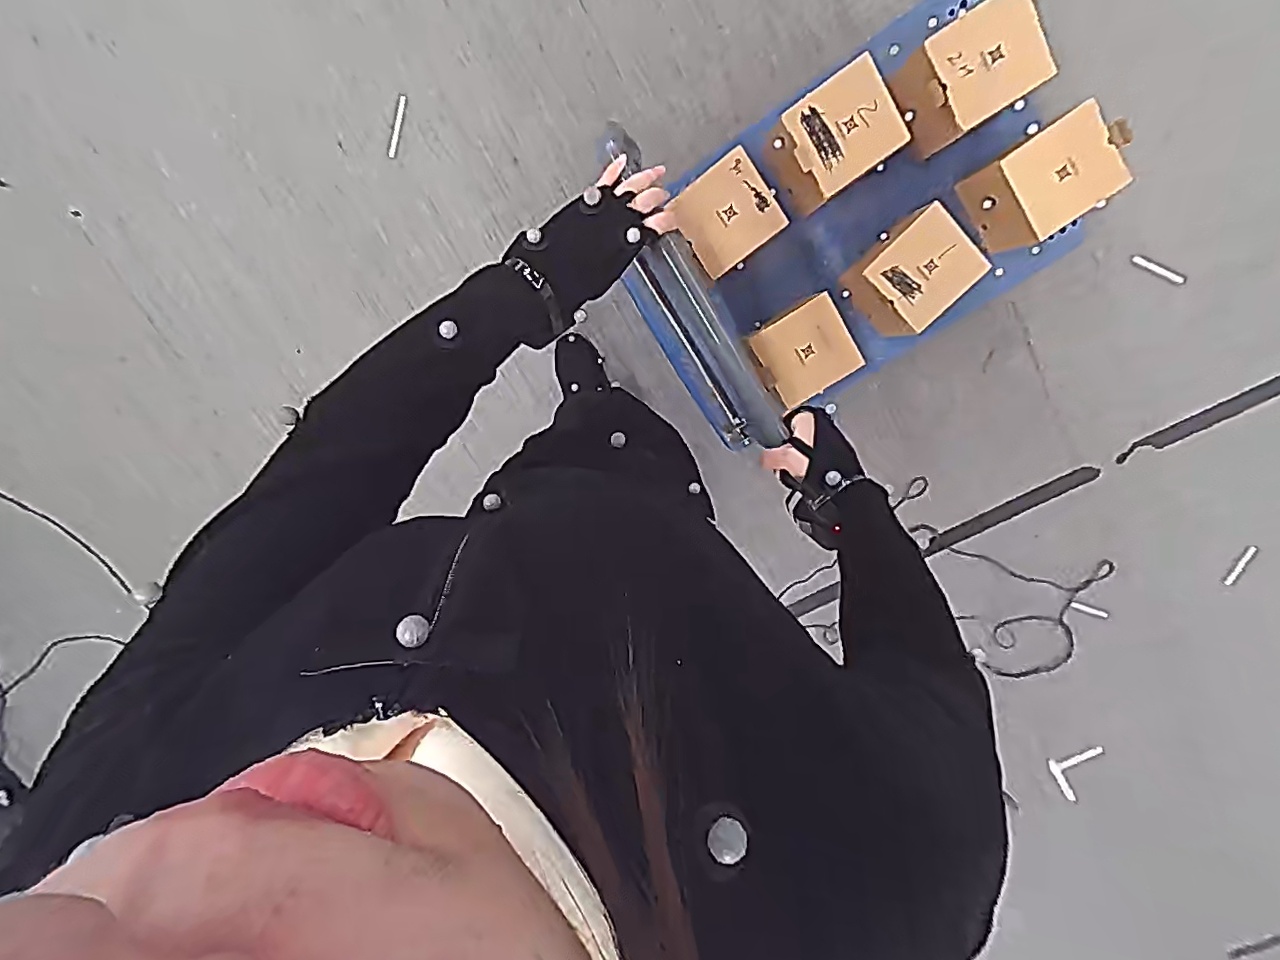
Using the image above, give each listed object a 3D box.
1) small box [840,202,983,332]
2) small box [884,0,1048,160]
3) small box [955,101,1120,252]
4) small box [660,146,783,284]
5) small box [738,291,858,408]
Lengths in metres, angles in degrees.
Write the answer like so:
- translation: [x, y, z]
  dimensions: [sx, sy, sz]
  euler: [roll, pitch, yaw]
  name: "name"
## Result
- translation: [0.531, -0.417, 1.095]
  dimensions: [0.179, 0.176, 0.168]
  euler: [-44, 99, 11]
  name: "small box"
- translation: [0.594, -0.741, 1.007]
  dimensions: [0.179, 0.176, 0.168]
  euler: [-30, 101, 10]
  name: "small box"
- translation: [0.751, -0.571, 1.048]
  dimensions: [0.179, 0.176, 0.168]
  euler: [-35, 100, 10]
  name: "small box"
- translation: [0.156, -0.514, 1.083]
  dimensions: [0.179, 0.176, 0.168]
  euler: [-35, 102, 10]
  name: "small box"
- translation: [0.321, -0.273, 1.141]
  dimensions: [0.179, 0.176, 0.168]
  euler: [-31, 102, 9]
  name: "small box"
